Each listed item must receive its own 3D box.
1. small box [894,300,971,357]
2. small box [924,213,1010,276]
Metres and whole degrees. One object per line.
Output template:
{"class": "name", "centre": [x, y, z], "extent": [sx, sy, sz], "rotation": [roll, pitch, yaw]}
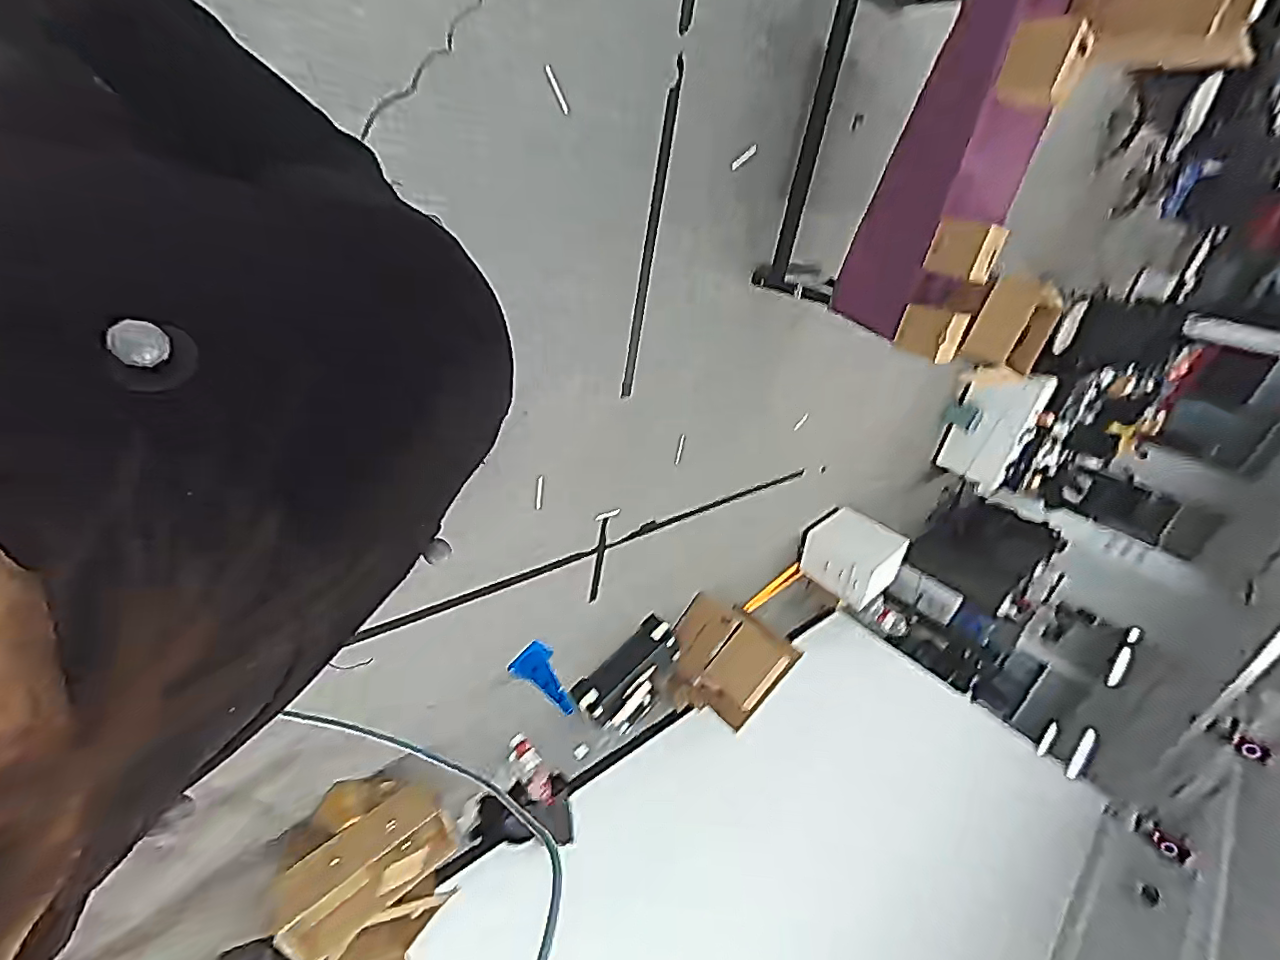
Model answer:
{"class": "small box", "centre": [1.067, -0.556, 1.978], "extent": [0.179, 0.176, 0.168], "rotation": [-13, 125, -41]}
{"class": "small box", "centre": [1.116, -0.806, 1.851], "extent": [0.179, 0.176, 0.168], "rotation": [-13, 125, -40]}
